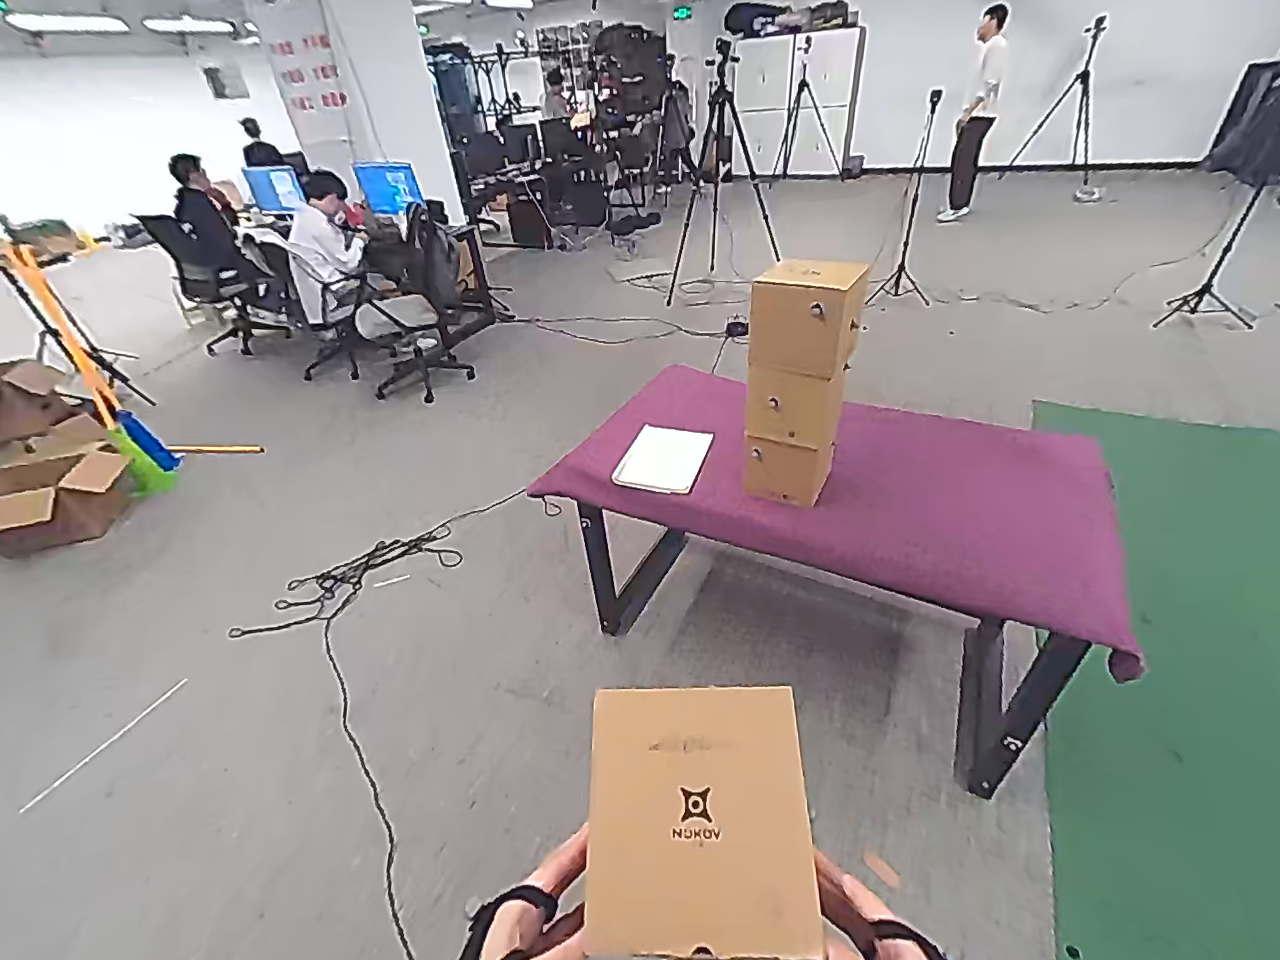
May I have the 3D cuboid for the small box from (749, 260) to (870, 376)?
[{"bbox_3d":[0.326,-0.317,1.056,0.179,0.176,0.168,17,40,28],"label":"small box"}]

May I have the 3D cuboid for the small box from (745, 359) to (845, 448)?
[{"bbox_3d":[0.334,-0.189,1.160,0.168,0.176,0.179,16,40,26],"label":"small box"}]
